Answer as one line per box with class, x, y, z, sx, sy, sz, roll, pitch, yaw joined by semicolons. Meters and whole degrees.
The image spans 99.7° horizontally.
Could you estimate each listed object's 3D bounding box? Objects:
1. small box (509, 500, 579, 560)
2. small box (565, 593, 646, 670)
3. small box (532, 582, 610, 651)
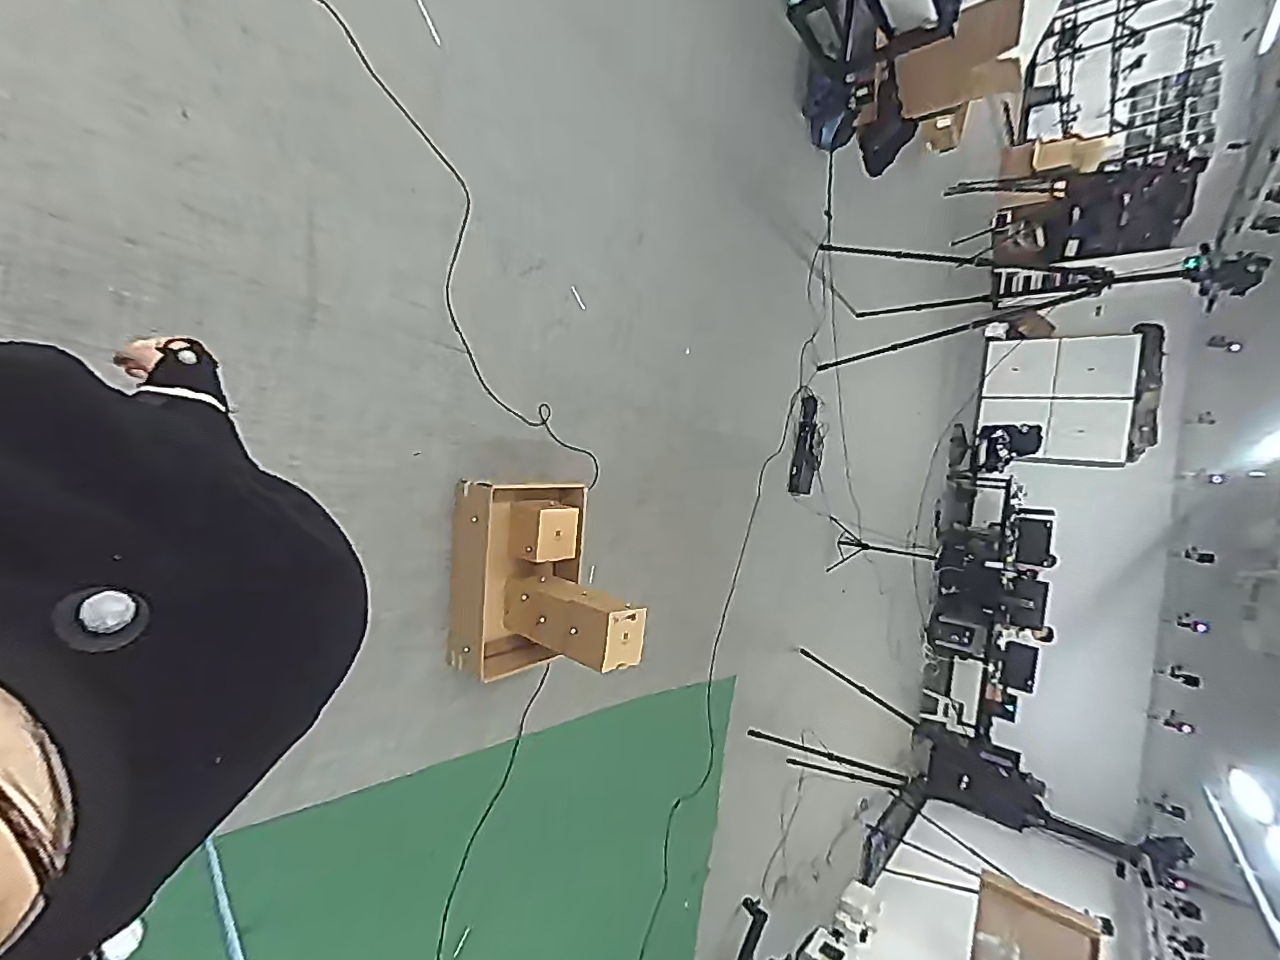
small box;-0.330;0.162;1.839;0.168;0.176;0.179;1;97;-48
small box;-0.108;0.451;1.636;0.168;0.176;0.179;9;89;-50
small box;-0.224;0.436;1.754;0.179;0.176;0.168;3;93;-49
